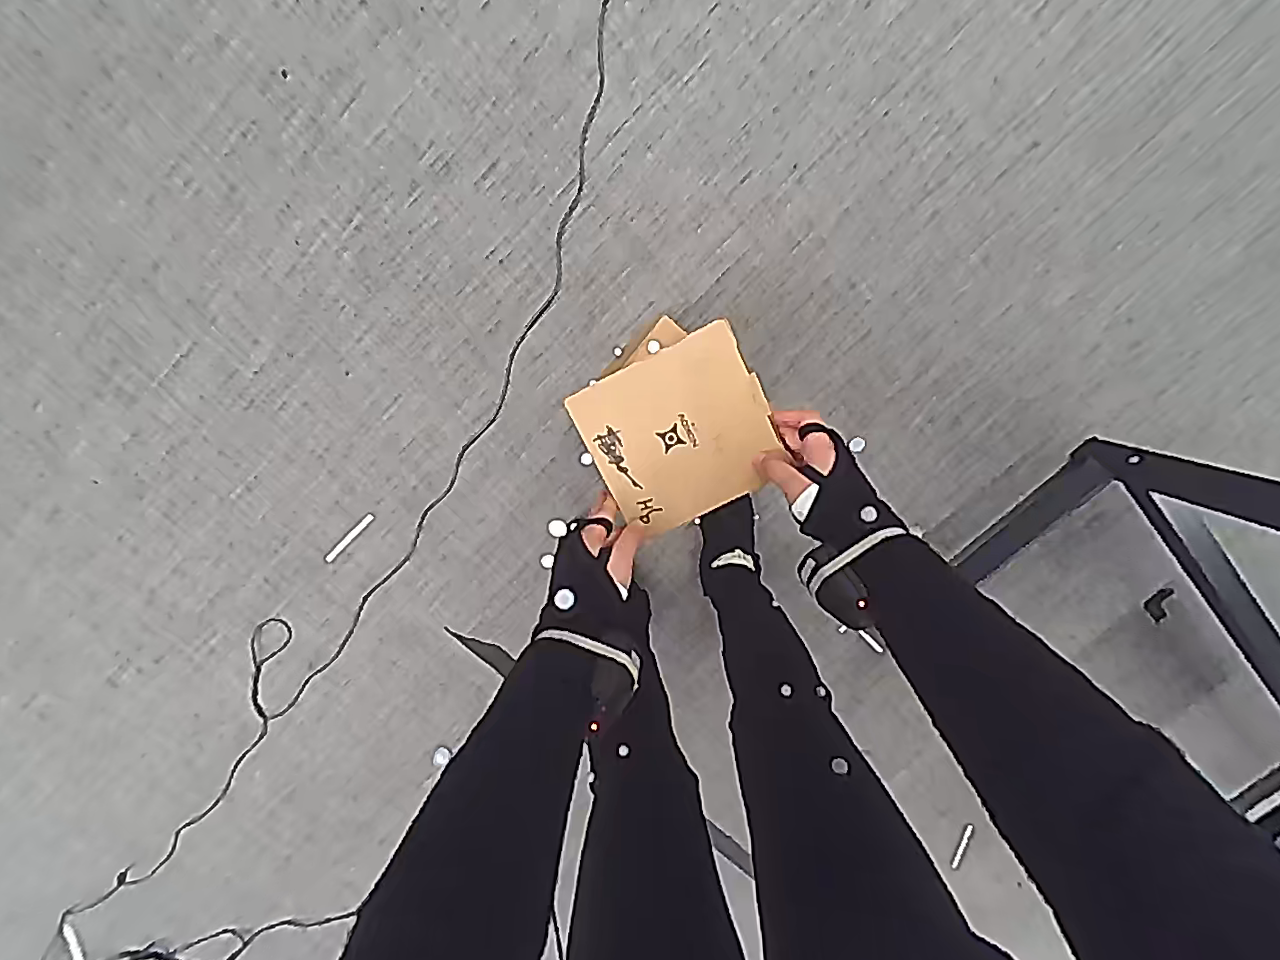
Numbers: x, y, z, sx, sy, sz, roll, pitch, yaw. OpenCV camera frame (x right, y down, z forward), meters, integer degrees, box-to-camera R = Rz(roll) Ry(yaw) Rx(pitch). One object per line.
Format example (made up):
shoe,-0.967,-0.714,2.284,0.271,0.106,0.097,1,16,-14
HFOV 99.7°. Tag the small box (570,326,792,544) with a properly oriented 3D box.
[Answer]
small box,0.041,-0.057,0.613,0.179,0.176,0.168,-27,100,6

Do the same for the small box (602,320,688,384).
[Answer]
small box,0.032,-0.109,0.783,0.168,0.176,0.179,38,99,-13
